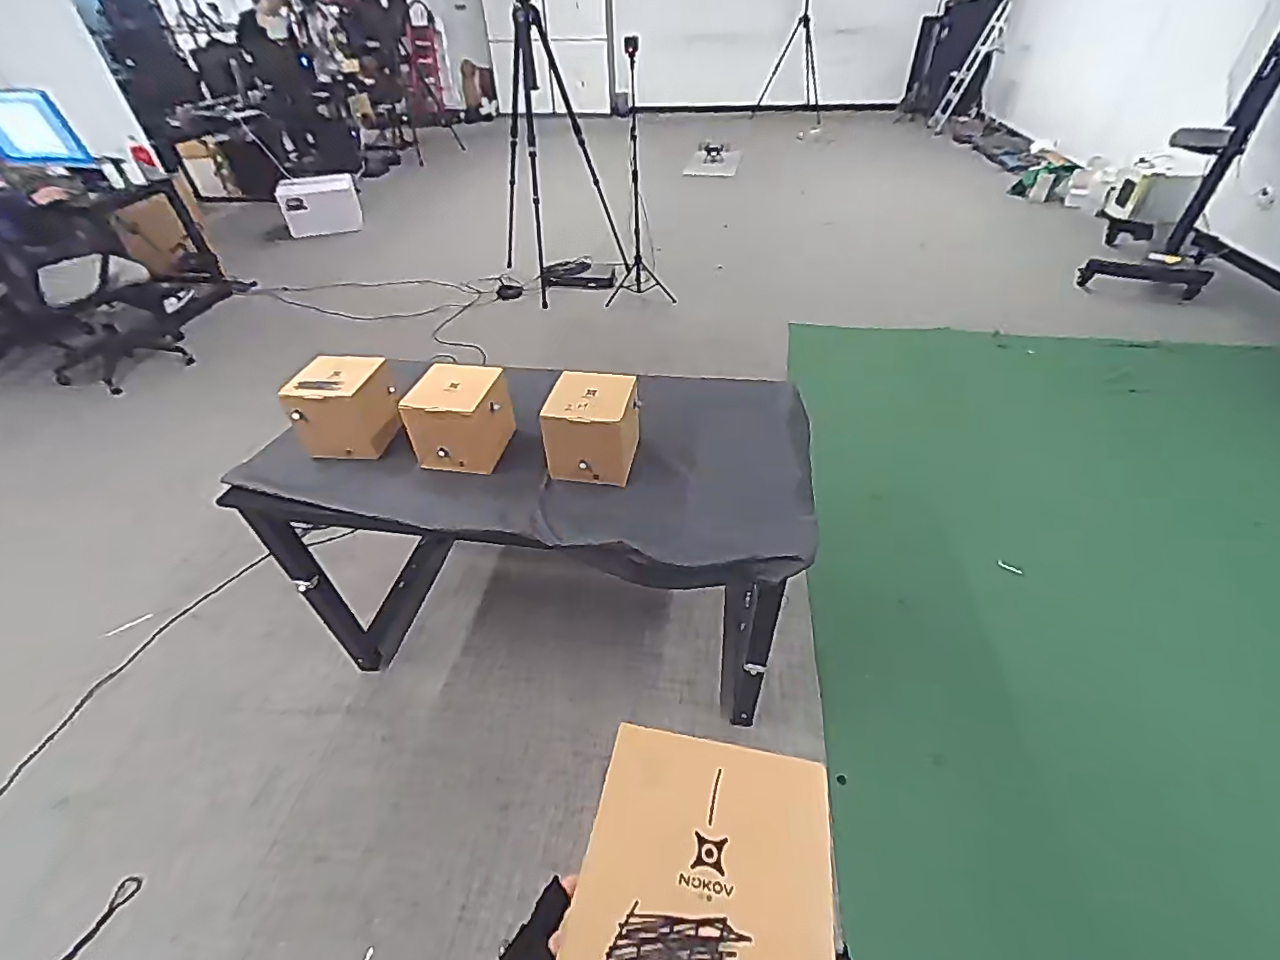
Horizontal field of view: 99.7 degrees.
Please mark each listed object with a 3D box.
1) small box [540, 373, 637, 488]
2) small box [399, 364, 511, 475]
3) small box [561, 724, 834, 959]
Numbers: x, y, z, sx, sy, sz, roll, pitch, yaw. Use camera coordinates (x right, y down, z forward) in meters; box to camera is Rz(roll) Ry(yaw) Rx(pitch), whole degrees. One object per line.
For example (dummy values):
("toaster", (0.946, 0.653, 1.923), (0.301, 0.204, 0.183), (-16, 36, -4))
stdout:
("small box", (-0.103, -0.108, 1.159), (0.168, 0.176, 0.179), (6, 43, 9))
("small box", (-0.397, -0.135, 1.198), (0.168, 0.176, 0.179), (6, 43, 8))
("small box", (0.048, 0.326, 0.414), (0.168, 0.176, 0.179), (7, 38, 10))
